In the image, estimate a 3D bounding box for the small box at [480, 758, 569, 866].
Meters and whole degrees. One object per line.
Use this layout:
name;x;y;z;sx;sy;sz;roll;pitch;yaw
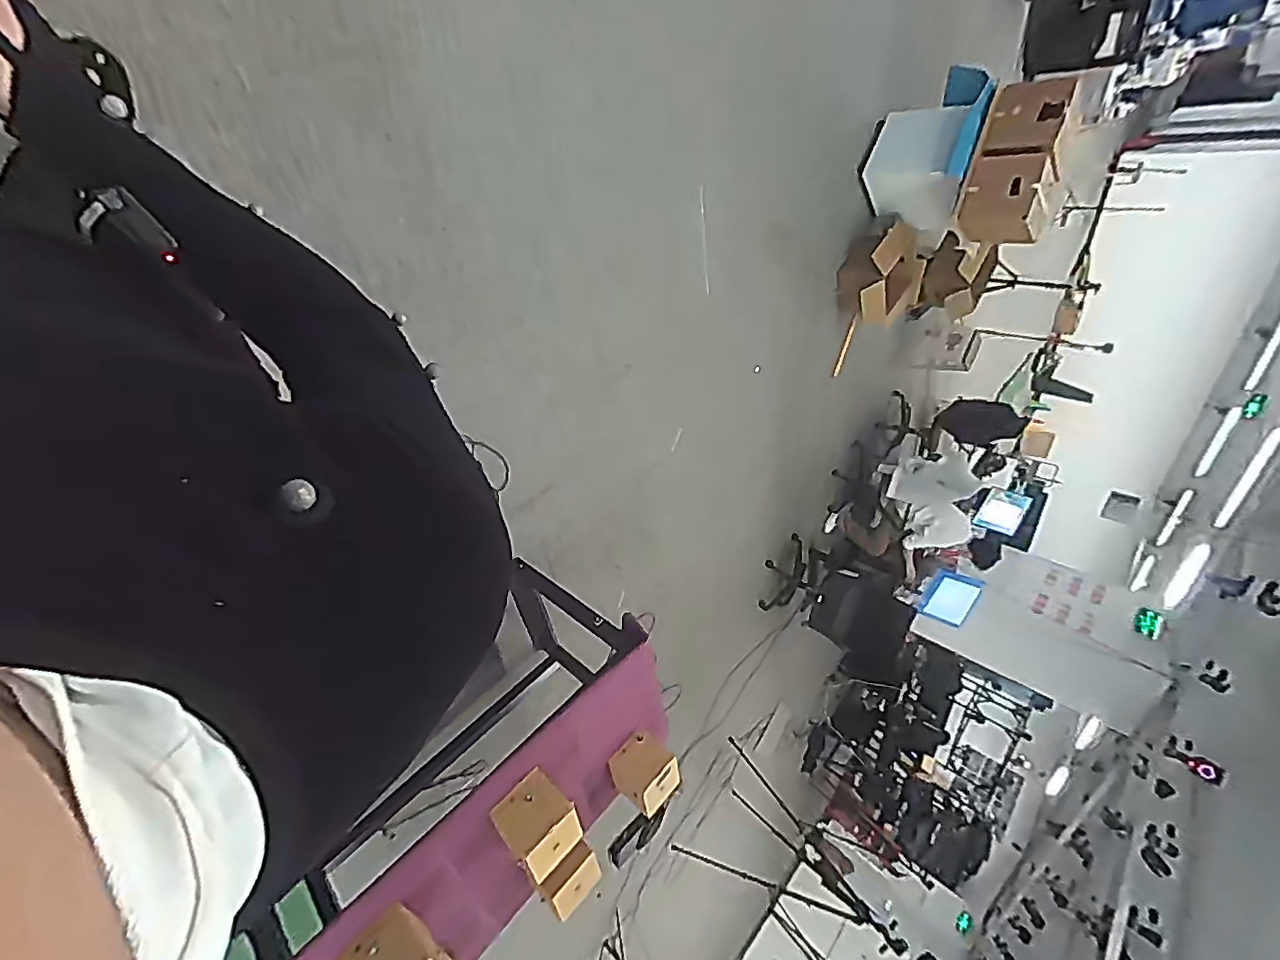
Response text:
small box;-0.327;0.935;1.538;0.168;0.176;0.179;-34;135;-34

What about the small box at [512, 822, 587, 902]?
small box;-0.293;1.179;1.723;0.168;0.176;0.179;-34;133;-35

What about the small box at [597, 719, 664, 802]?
small box;-0.035;0.986;1.921;0.168;0.176;0.179;-35;133;-33

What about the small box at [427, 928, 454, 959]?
small box;-0.588;1.382;1.474;0.168;0.176;0.179;-36;135;-34

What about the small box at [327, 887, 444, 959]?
small box;-0.610;1.132;1.299;0.168;0.176;0.179;-38;136;-34
